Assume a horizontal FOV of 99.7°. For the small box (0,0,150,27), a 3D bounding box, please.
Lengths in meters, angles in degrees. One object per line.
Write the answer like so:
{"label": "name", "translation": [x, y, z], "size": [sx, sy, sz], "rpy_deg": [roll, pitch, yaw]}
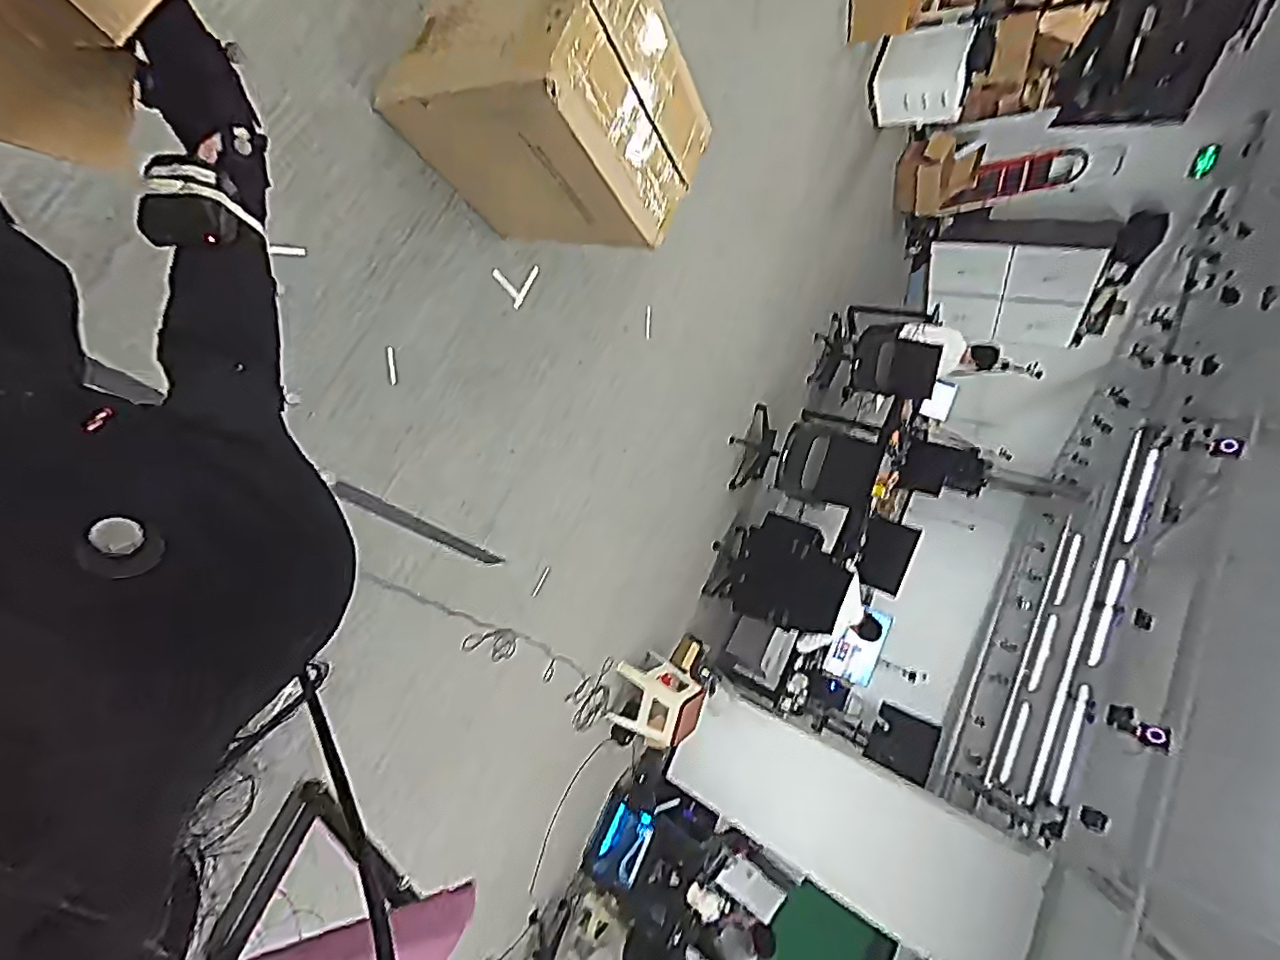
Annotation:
{"label": "small box", "translation": [-0.378, -0.407, 0.312], "size": [0.168, 0.176, 0.179], "rpy_deg": [-59, 154, -11]}
